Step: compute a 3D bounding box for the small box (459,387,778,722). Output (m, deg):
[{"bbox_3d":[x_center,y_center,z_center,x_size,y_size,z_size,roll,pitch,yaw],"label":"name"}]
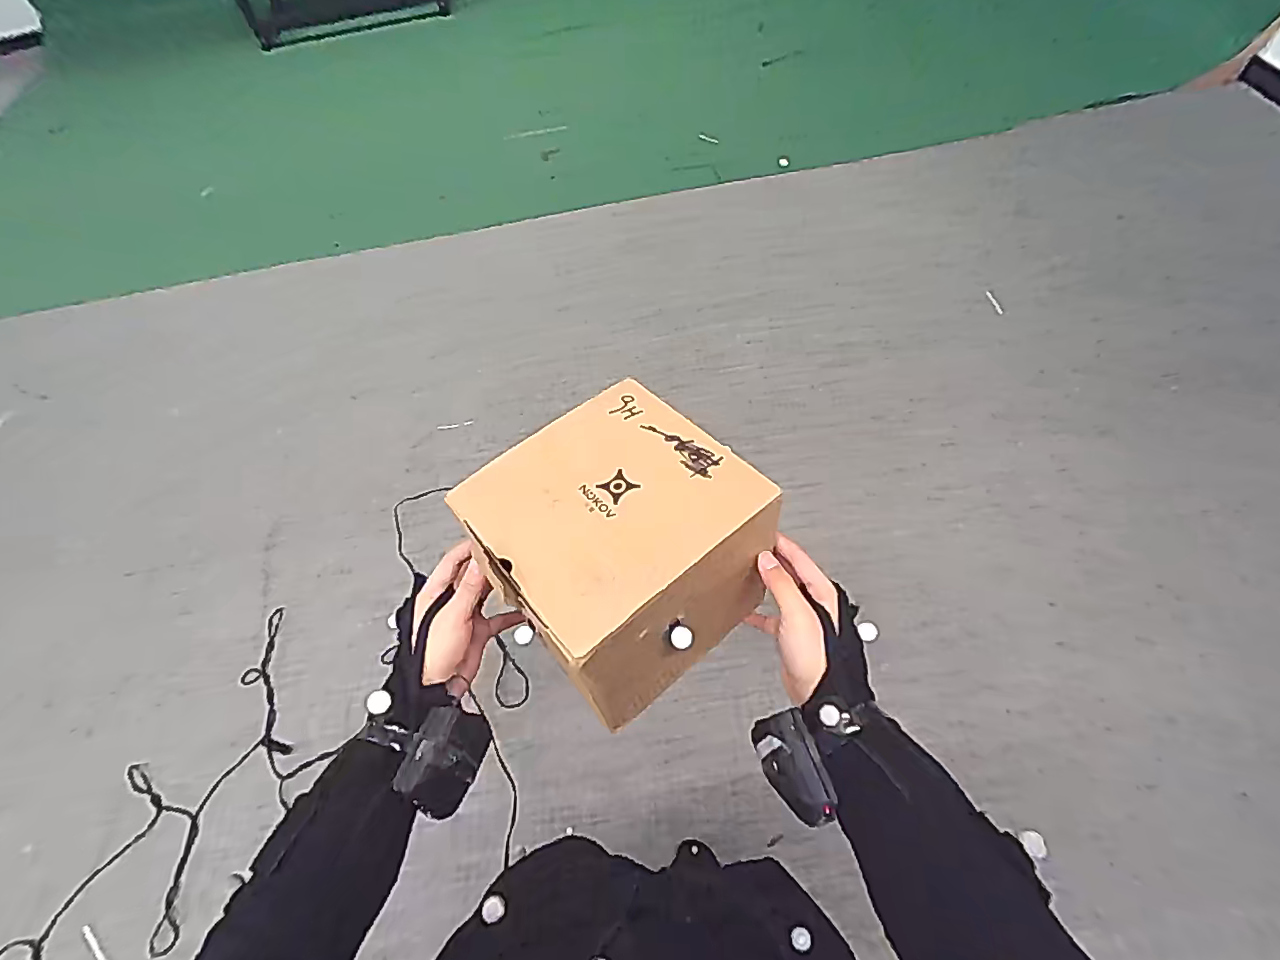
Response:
[{"bbox_3d":[-0.010,0.064,0.444,0.179,0.176,0.168,-36,56,-19],"label":"small box"}]
